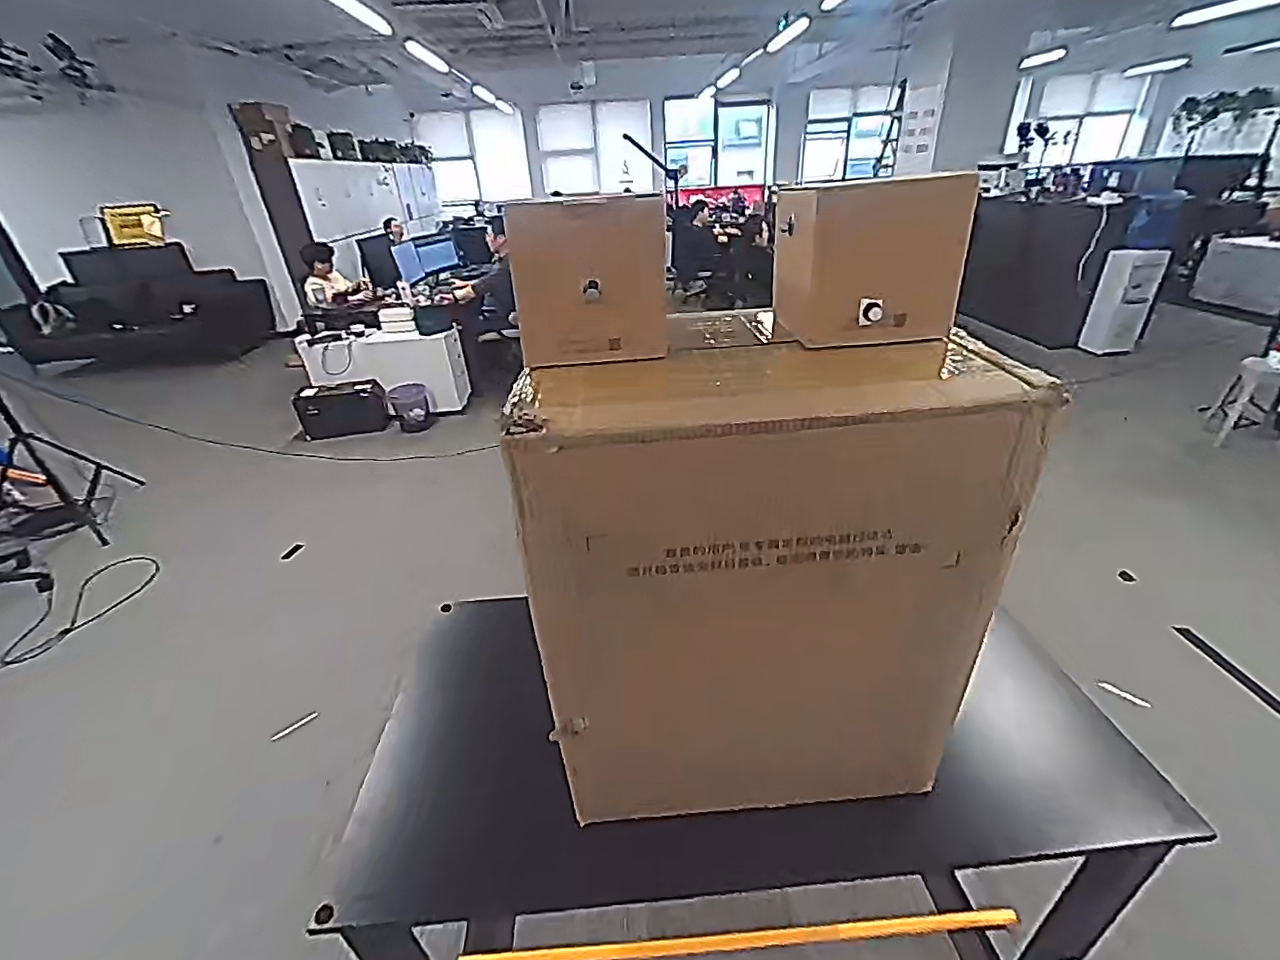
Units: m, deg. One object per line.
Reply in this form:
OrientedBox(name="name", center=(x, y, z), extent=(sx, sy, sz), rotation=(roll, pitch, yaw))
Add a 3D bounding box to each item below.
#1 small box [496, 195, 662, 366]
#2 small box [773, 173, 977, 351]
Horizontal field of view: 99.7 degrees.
OrientedBox(name="small box", center=(-0.068, -0.238, 0.648), extent=(0.168, 0.176, 0.179), rotation=(-6, 29, -6))
OrientedBox(name="small box", center=(0.259, -0.262, 0.648), extent=(0.168, 0.176, 0.179), rotation=(-6, 29, 2))
